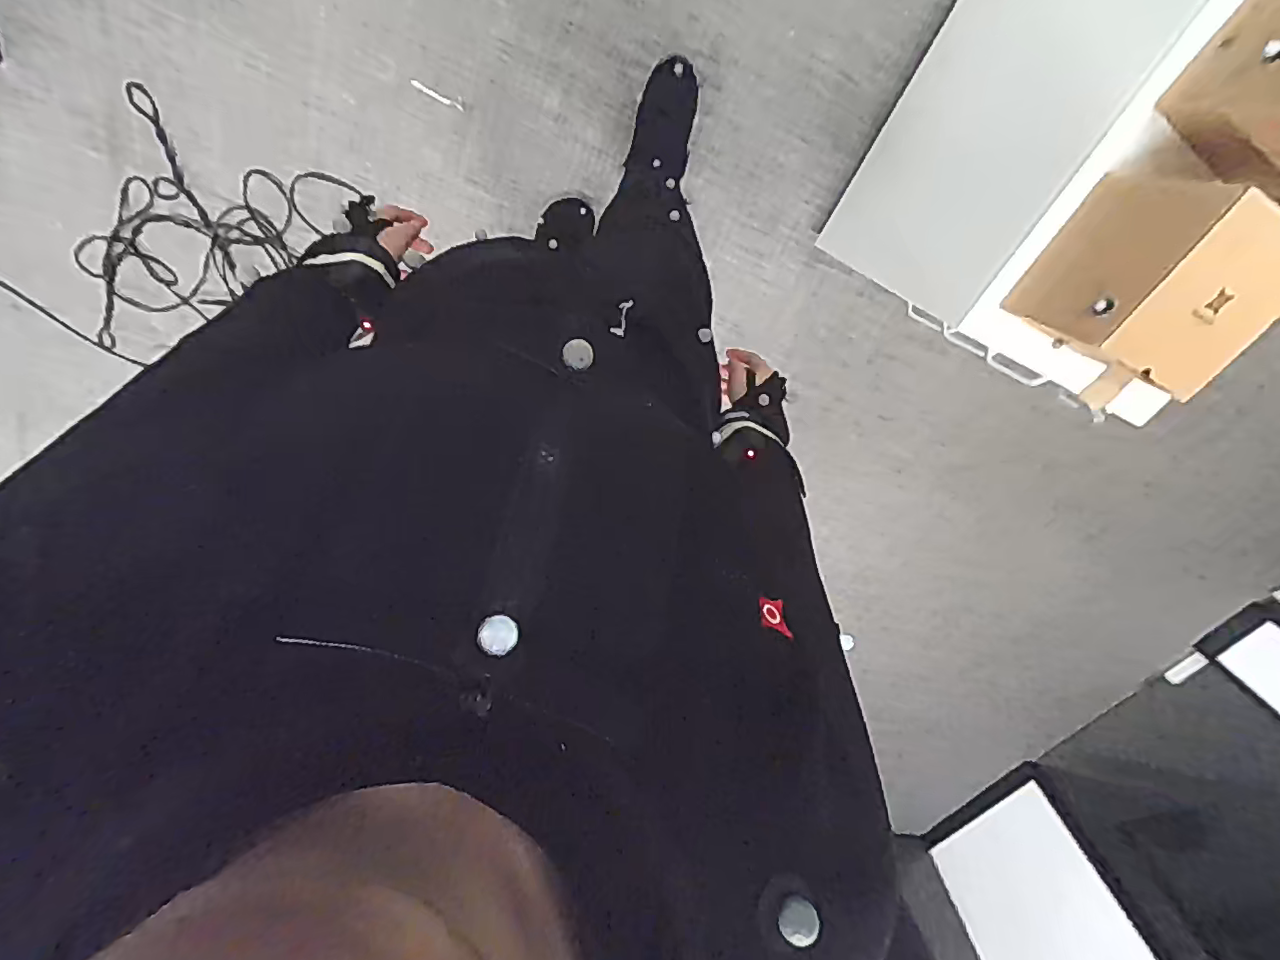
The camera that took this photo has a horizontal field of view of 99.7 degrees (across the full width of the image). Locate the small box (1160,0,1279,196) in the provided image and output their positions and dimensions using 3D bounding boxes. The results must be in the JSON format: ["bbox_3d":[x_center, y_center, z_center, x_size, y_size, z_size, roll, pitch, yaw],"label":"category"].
[{"bbox_3d":[0.685,-0.392,0.527,0.179,0.176,0.168,22,120,-21],"label":"small box"}]
